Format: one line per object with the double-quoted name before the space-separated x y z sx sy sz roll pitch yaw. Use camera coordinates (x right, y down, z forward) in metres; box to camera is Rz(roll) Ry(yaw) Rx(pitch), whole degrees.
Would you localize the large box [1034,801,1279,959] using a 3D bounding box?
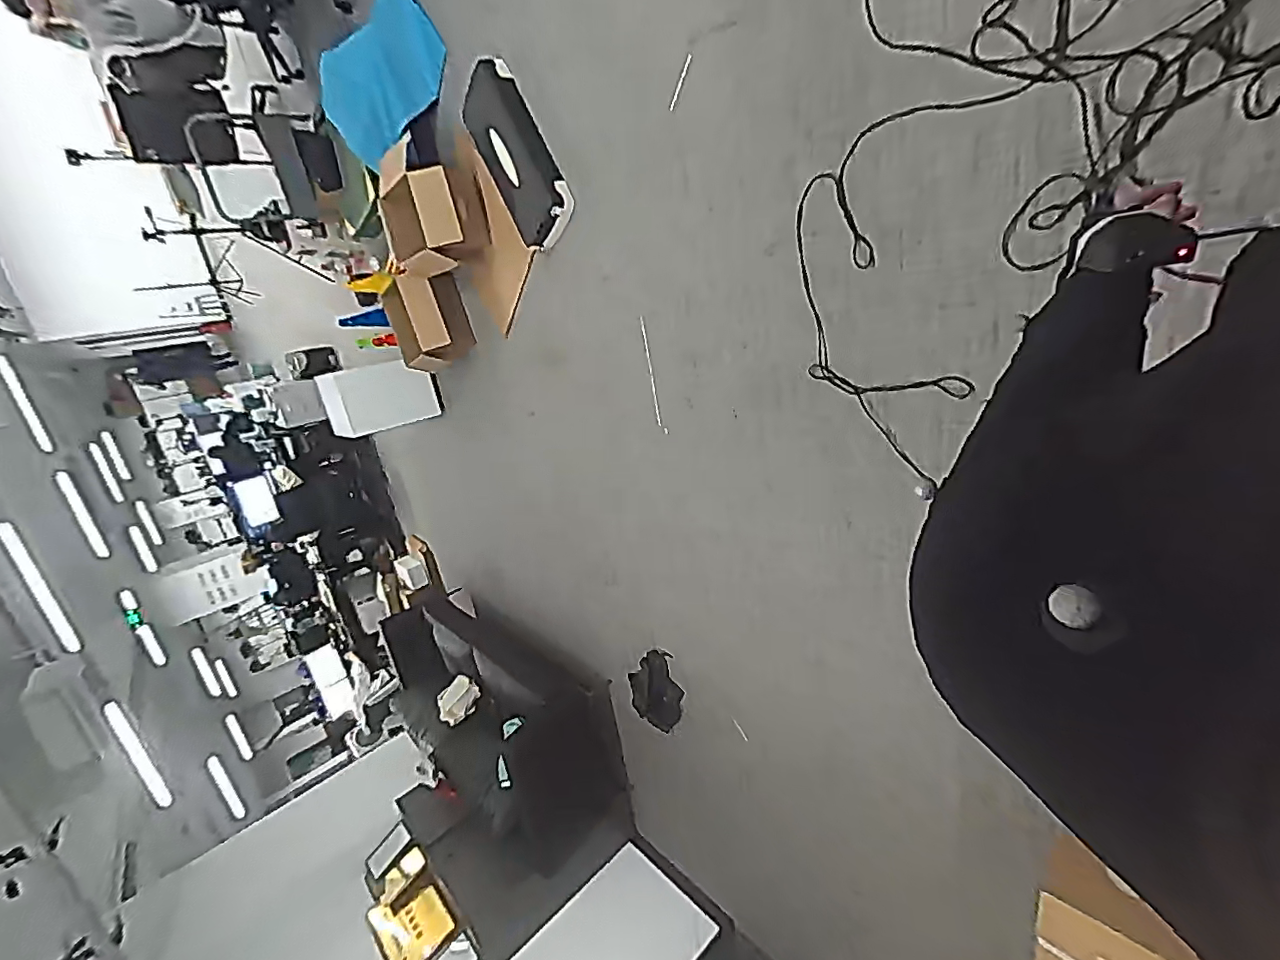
"large box" 1.162 1.028 1.193 0.408 0.320 0.320 12 117 49
